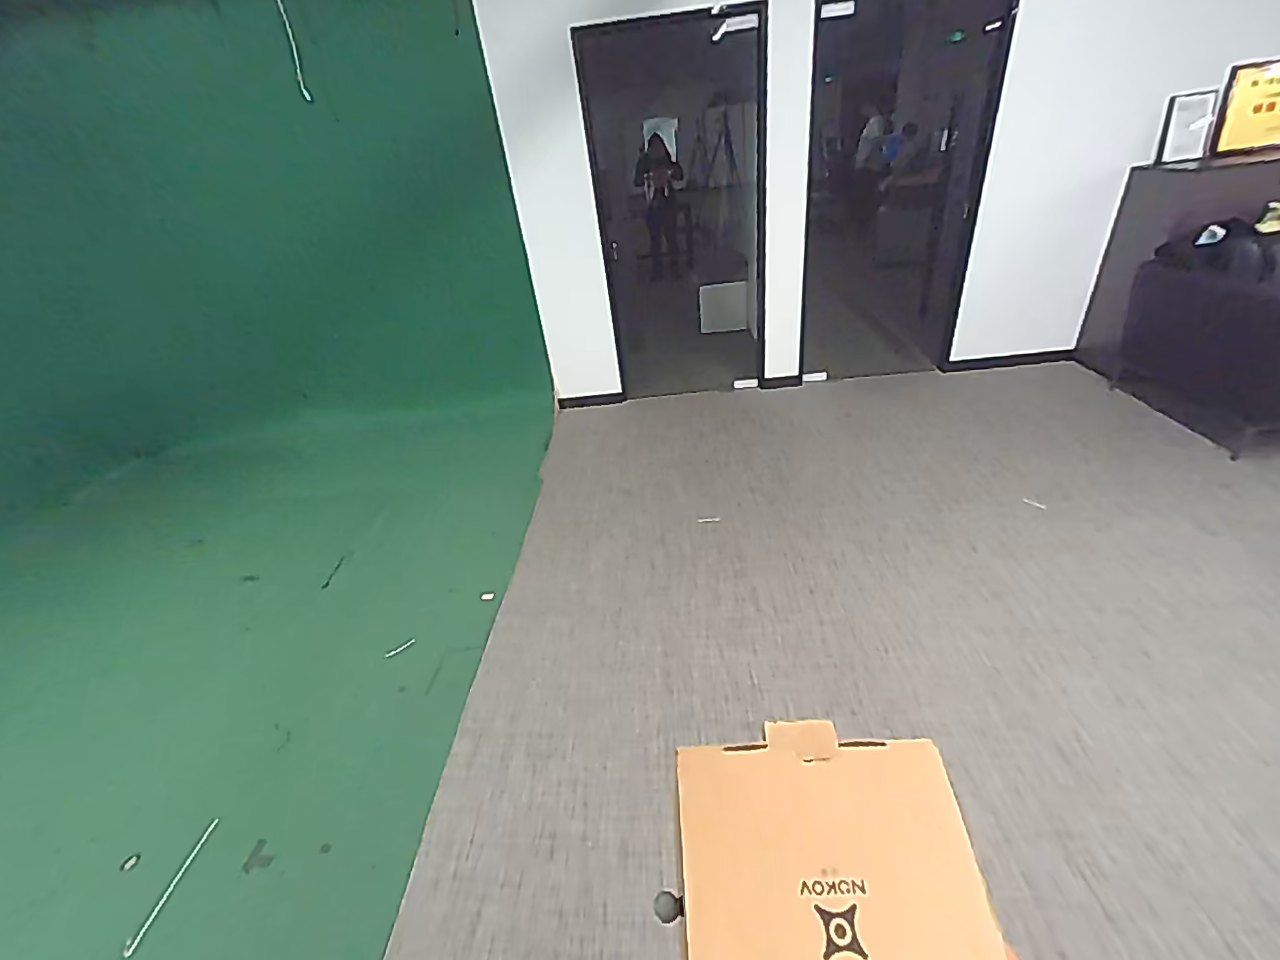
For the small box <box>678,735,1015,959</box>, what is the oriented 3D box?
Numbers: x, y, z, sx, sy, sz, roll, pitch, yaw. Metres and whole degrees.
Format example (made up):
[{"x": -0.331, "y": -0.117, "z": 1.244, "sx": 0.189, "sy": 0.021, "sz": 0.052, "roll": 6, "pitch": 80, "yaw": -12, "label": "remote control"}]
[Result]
[{"x": 0.113, "y": 0.282, "z": 0.350, "sx": 0.168, "sy": 0.176, "sz": 0.179, "roll": -3, "pitch": 49, "yaw": 1, "label": "small box"}]
